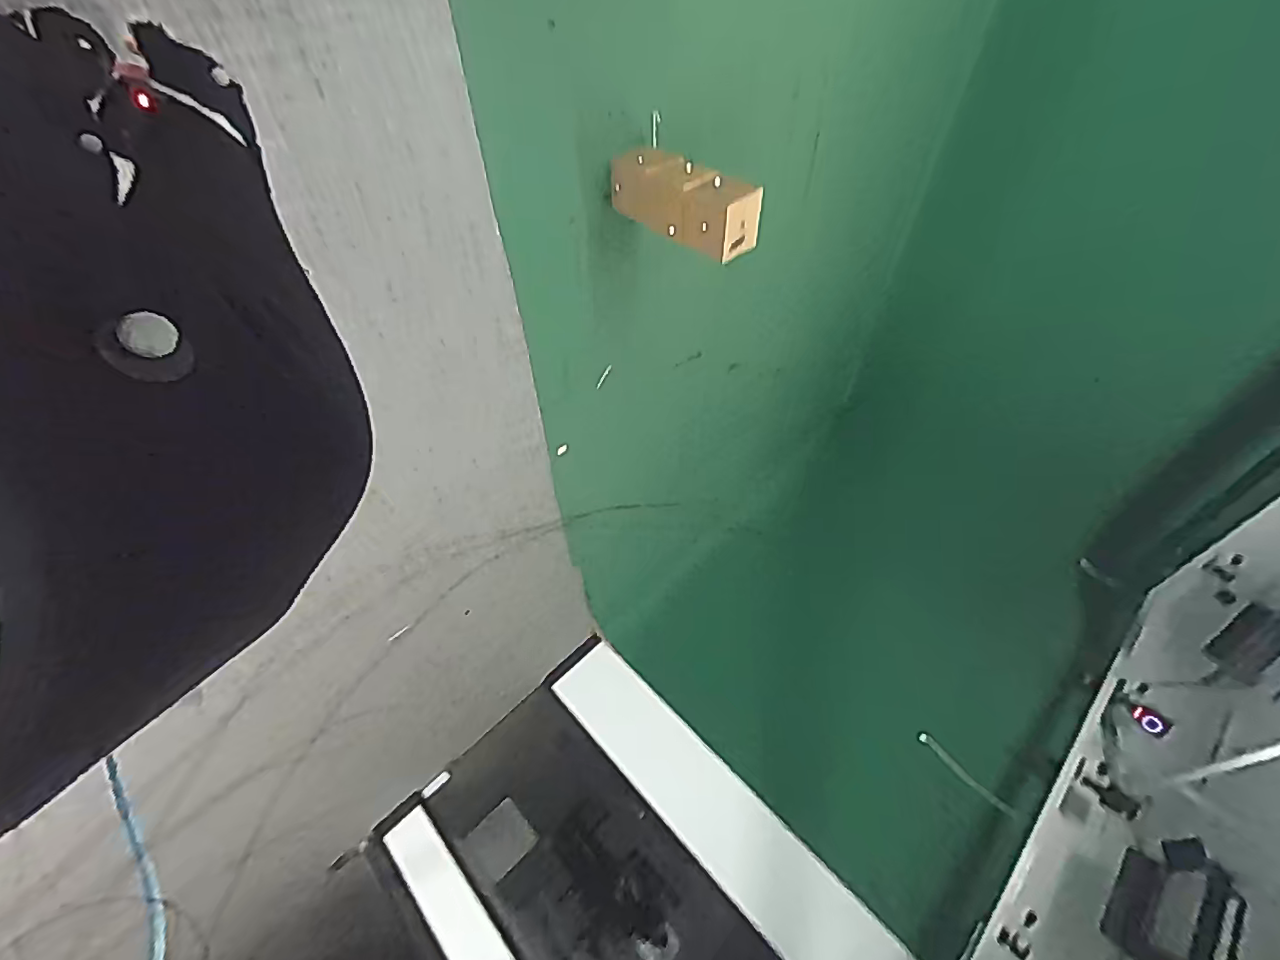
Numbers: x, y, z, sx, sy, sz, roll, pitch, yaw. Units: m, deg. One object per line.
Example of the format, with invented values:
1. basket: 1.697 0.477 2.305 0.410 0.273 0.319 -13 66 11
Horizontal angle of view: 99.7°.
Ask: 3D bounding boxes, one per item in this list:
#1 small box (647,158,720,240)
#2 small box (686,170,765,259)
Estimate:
1. small box: 0.134 -0.903 1.722 0.168 0.176 0.179 -36 148 -26
2. small box: 0.254 -0.813 1.653 0.168 0.176 0.179 -37 148 -25
